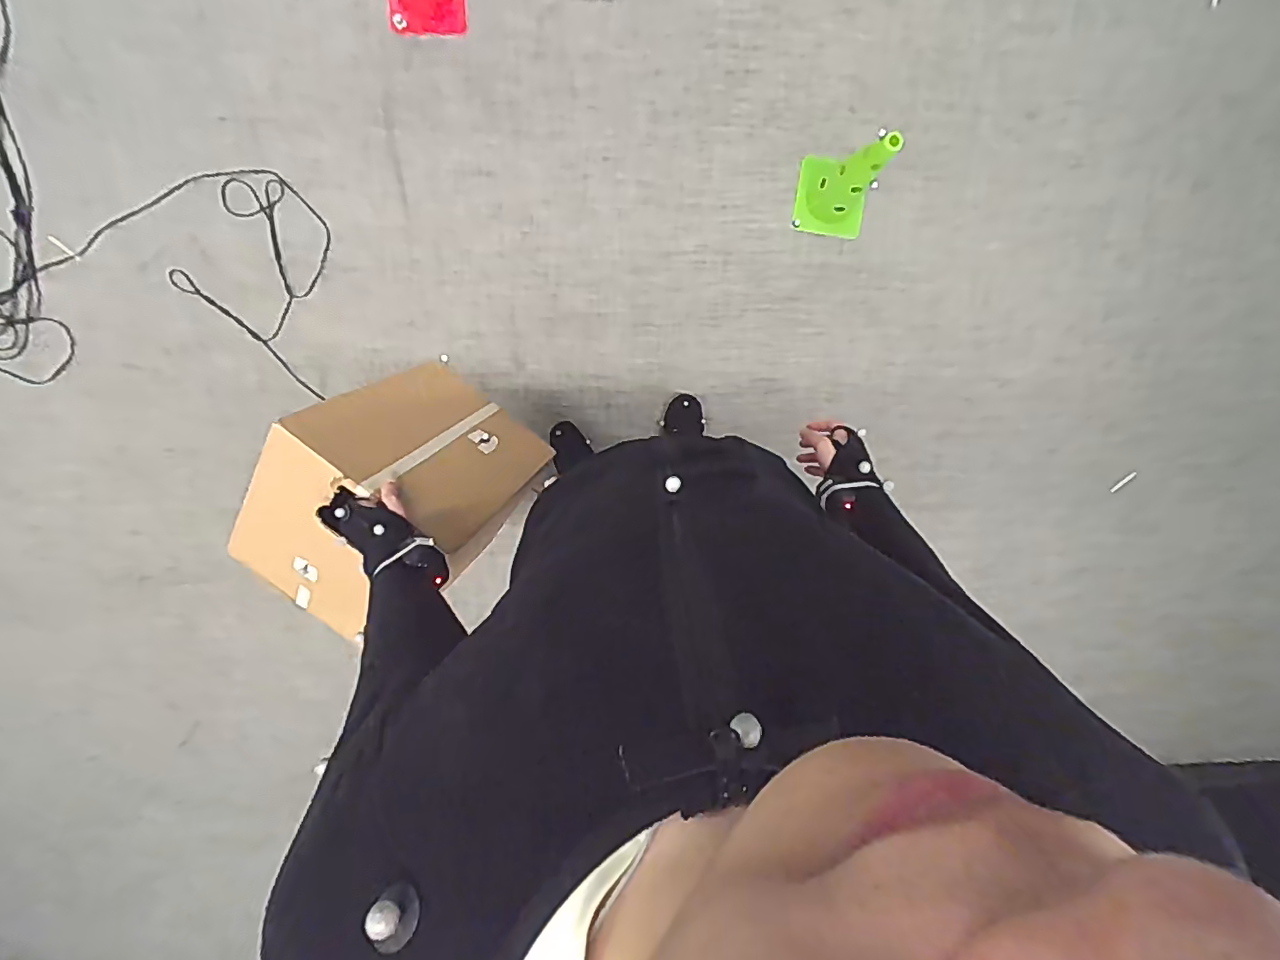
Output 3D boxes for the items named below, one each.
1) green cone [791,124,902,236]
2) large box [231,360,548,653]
[{"bbox_3d":[0.549,-0.781,1.365,0.200,0.368,0.202,6,97,-5],"label":"green cone"},{"bbox_3d":[-0.439,0.030,1.012,0.320,0.408,0.320,39,118,-5],"label":"large box"}]
